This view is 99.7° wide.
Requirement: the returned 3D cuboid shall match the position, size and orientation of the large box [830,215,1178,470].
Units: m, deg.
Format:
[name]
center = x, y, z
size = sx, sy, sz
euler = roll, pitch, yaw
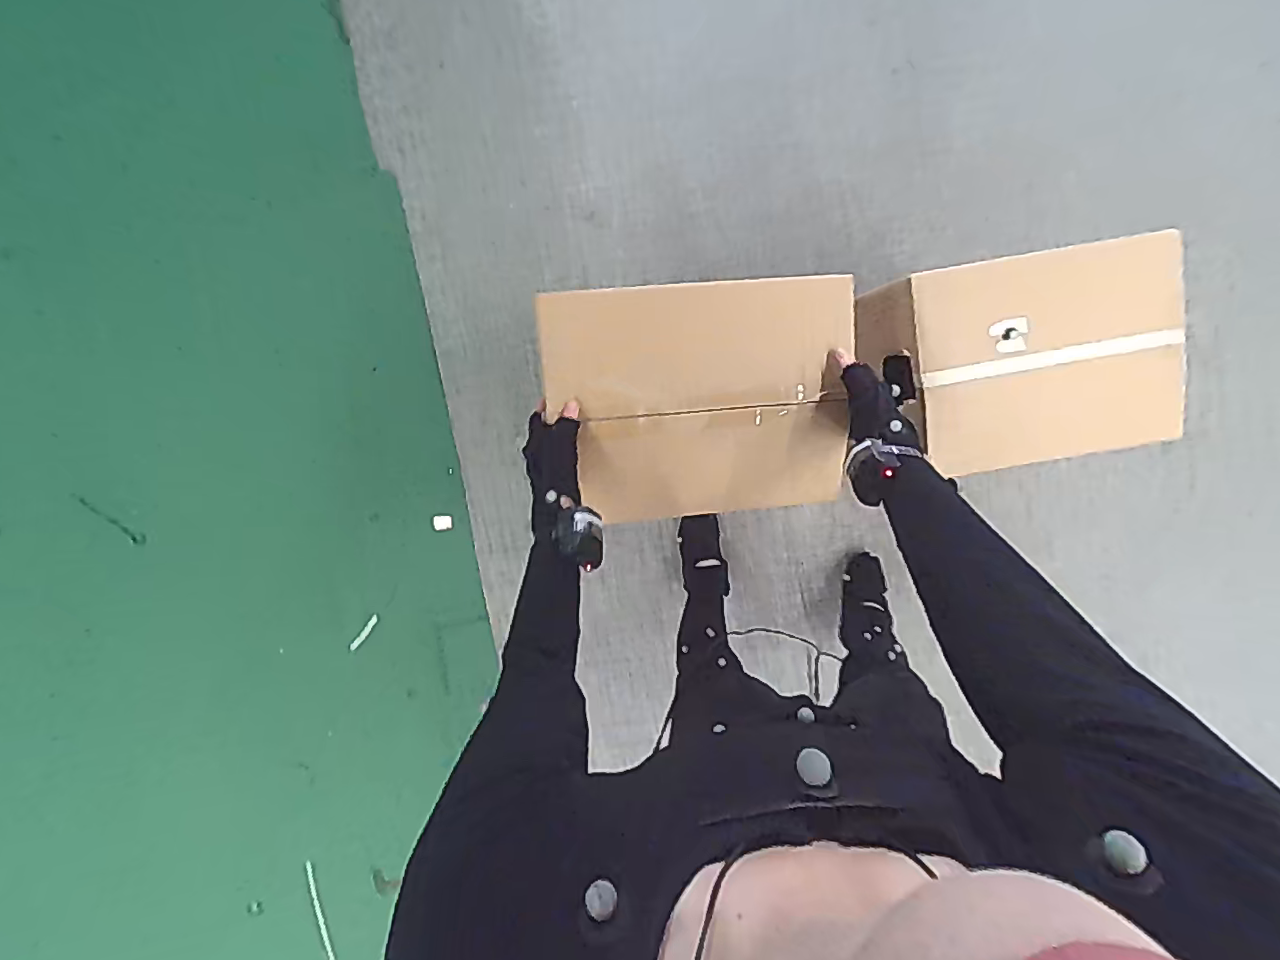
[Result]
[large box]
center = 0.598, -0.225, 0.951
size = 0.408, 0.320, 0.320
euler = -10, 99, 1
